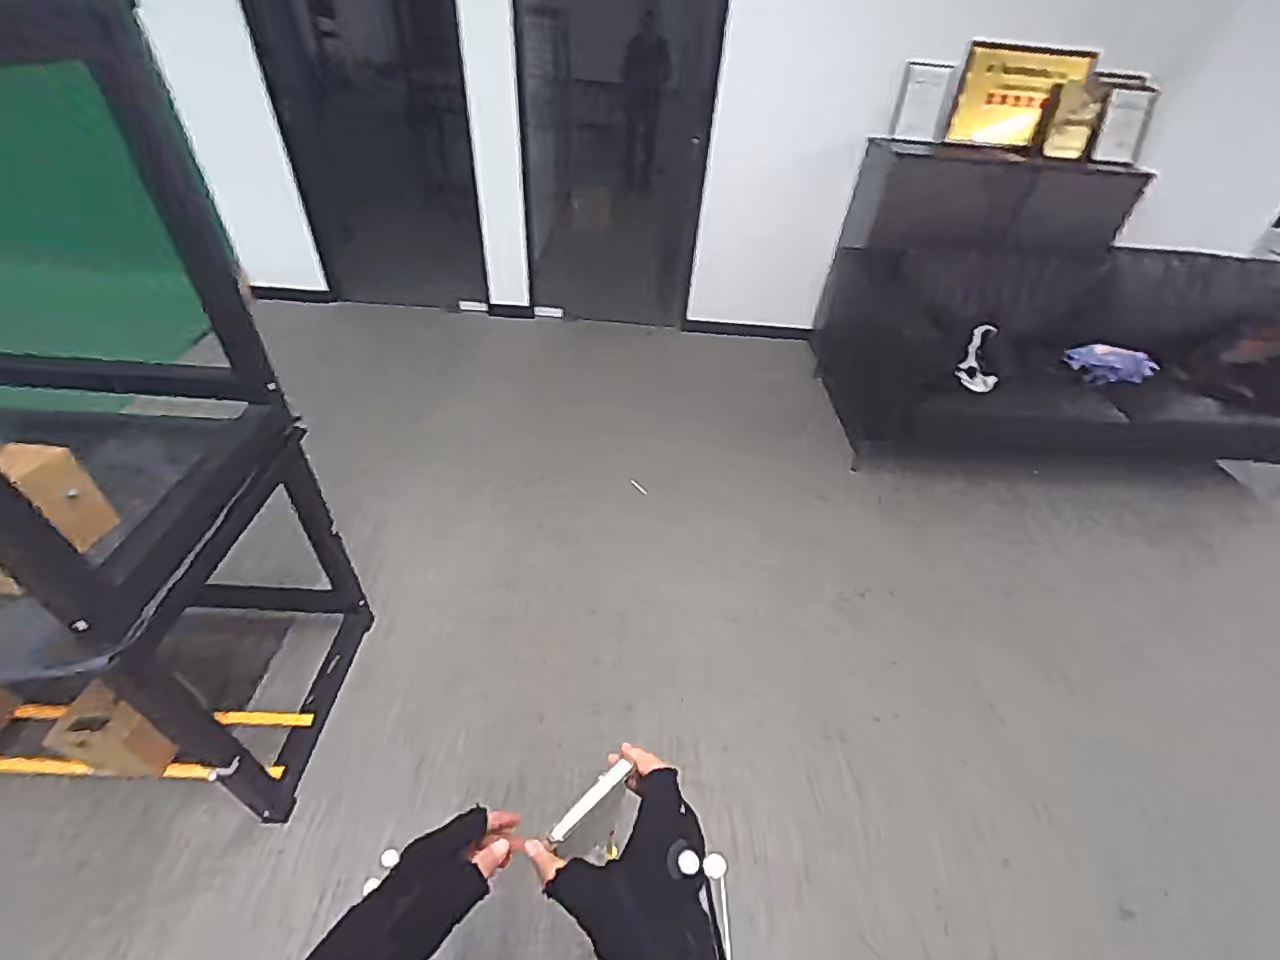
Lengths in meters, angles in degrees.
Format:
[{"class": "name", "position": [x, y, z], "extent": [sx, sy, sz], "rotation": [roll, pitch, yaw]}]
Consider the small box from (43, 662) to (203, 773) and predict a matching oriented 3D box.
[{"class": "small box", "position": [-1.158, 0.545, 1.234], "extent": [0.168, 0.176, 0.179], "rotation": [6, 41, 0]}]
